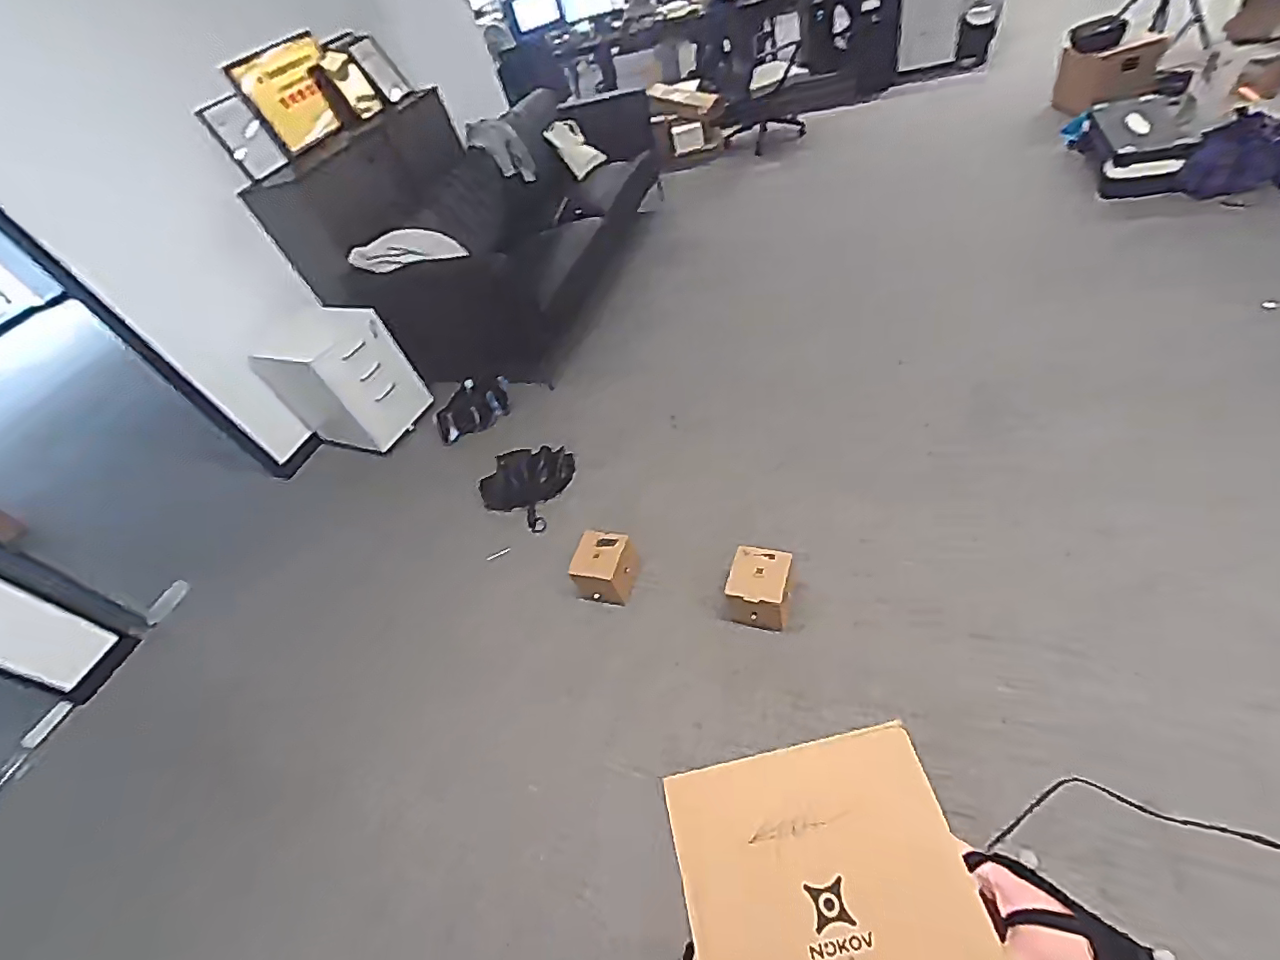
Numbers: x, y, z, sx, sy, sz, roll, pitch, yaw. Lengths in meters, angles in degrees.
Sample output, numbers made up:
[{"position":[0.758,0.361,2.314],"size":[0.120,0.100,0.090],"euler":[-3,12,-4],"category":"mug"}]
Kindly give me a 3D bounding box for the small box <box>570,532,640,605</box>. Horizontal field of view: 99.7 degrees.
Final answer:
[{"position":[-0.111,0.303,1.857],"size":[0.168,0.176,0.179],"euler":[4,52,24],"category":"small box"}]

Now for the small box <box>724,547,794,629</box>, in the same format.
[{"position":[0.370,0.333,1.653],"size":[0.168,0.176,0.179],"euler":[7,53,26],"category":"small box"}]
